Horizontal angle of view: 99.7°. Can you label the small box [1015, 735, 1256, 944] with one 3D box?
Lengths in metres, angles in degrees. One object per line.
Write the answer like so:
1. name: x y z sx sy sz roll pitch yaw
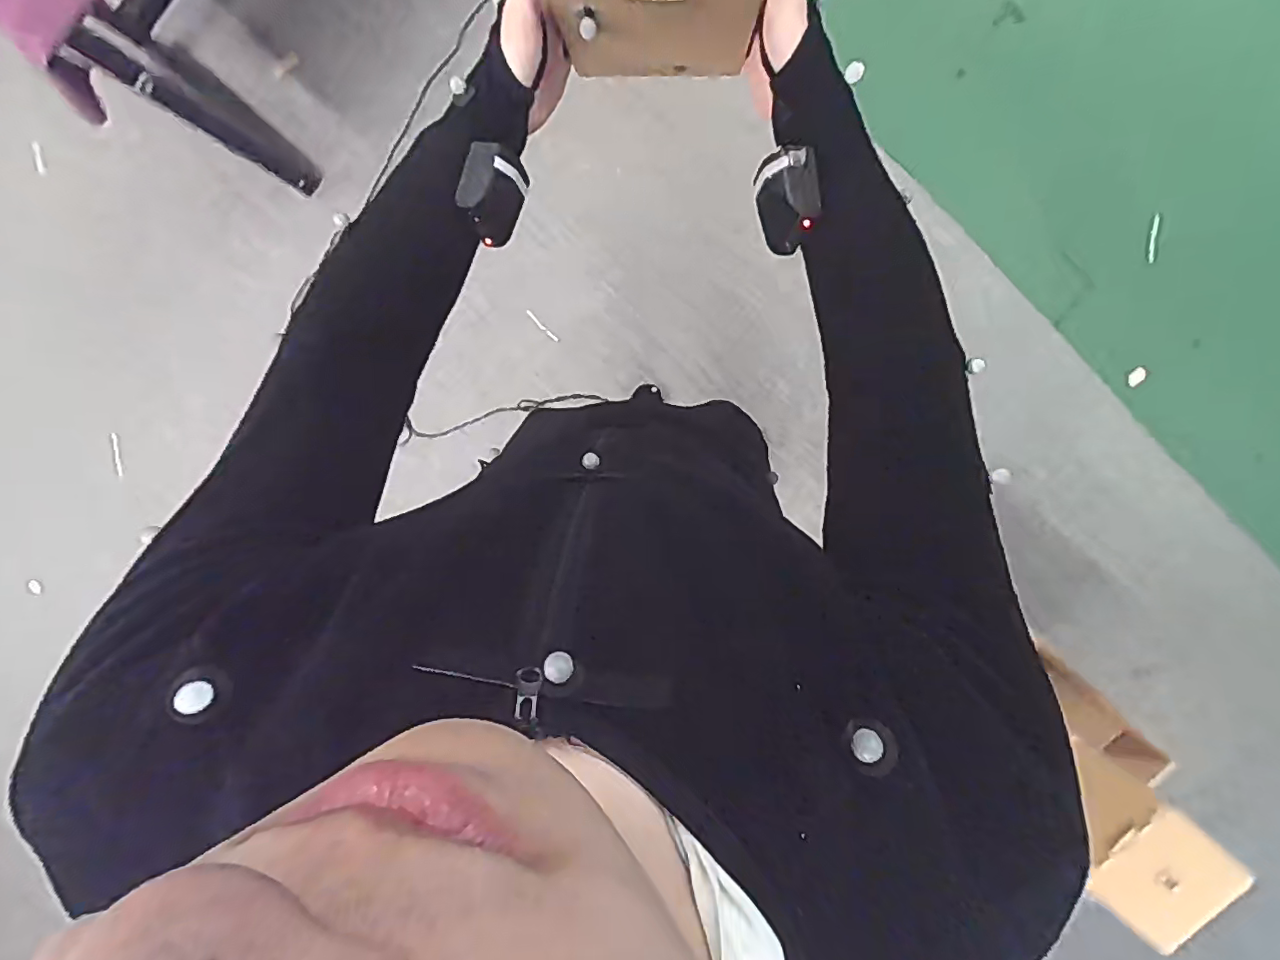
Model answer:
1. small box: 0.747 0.540 0.838 0.179 0.176 0.168 40 97 -4
